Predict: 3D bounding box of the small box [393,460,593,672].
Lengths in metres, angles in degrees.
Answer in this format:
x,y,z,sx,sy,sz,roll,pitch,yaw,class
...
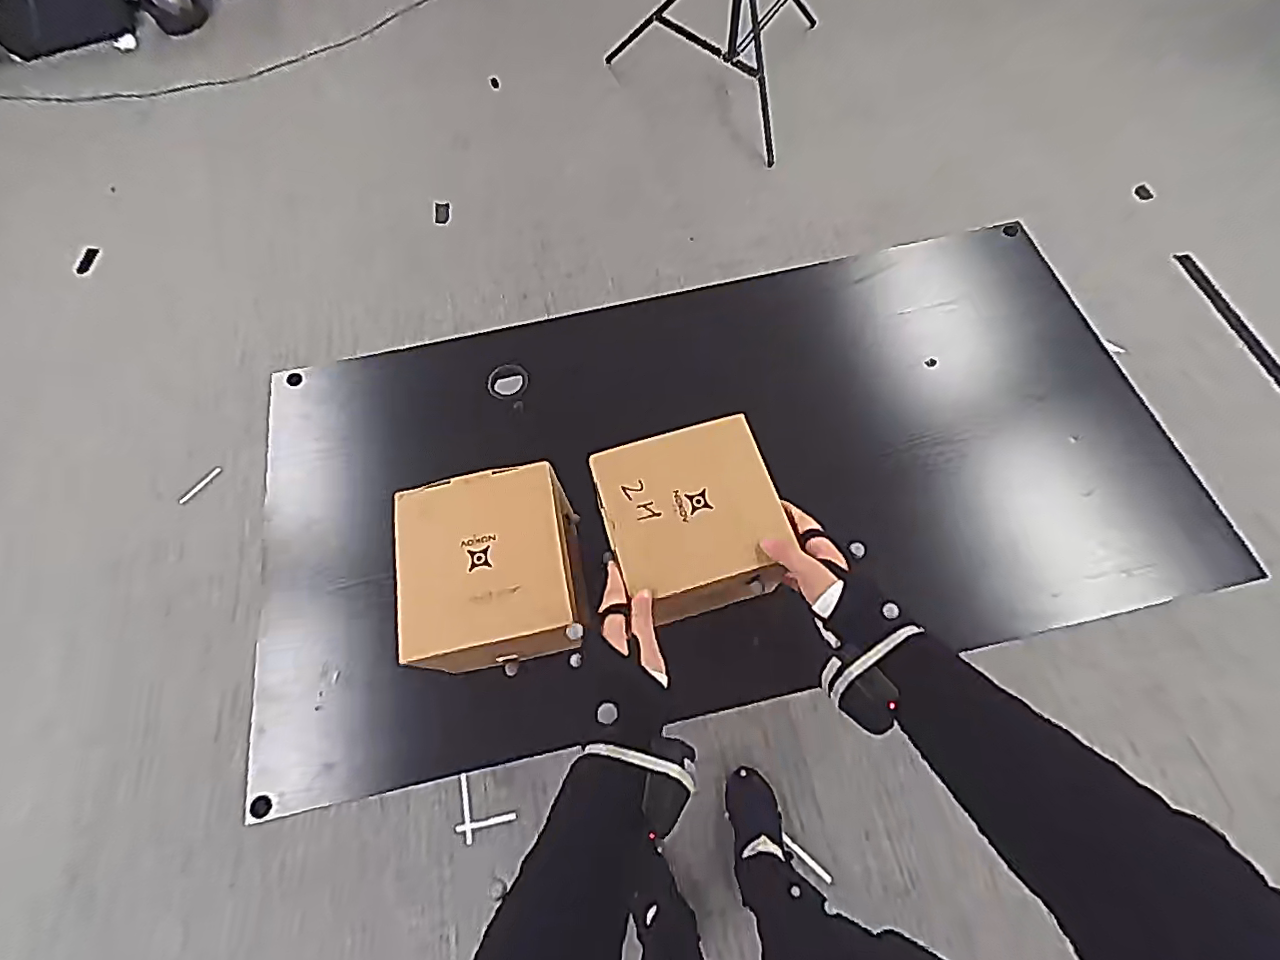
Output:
x,y,z,sx,sy,sz,roll,pitch,yaw,class
-0.154,0.103,0.600,0.168,0.176,0.179,-13,68,-2,small box
